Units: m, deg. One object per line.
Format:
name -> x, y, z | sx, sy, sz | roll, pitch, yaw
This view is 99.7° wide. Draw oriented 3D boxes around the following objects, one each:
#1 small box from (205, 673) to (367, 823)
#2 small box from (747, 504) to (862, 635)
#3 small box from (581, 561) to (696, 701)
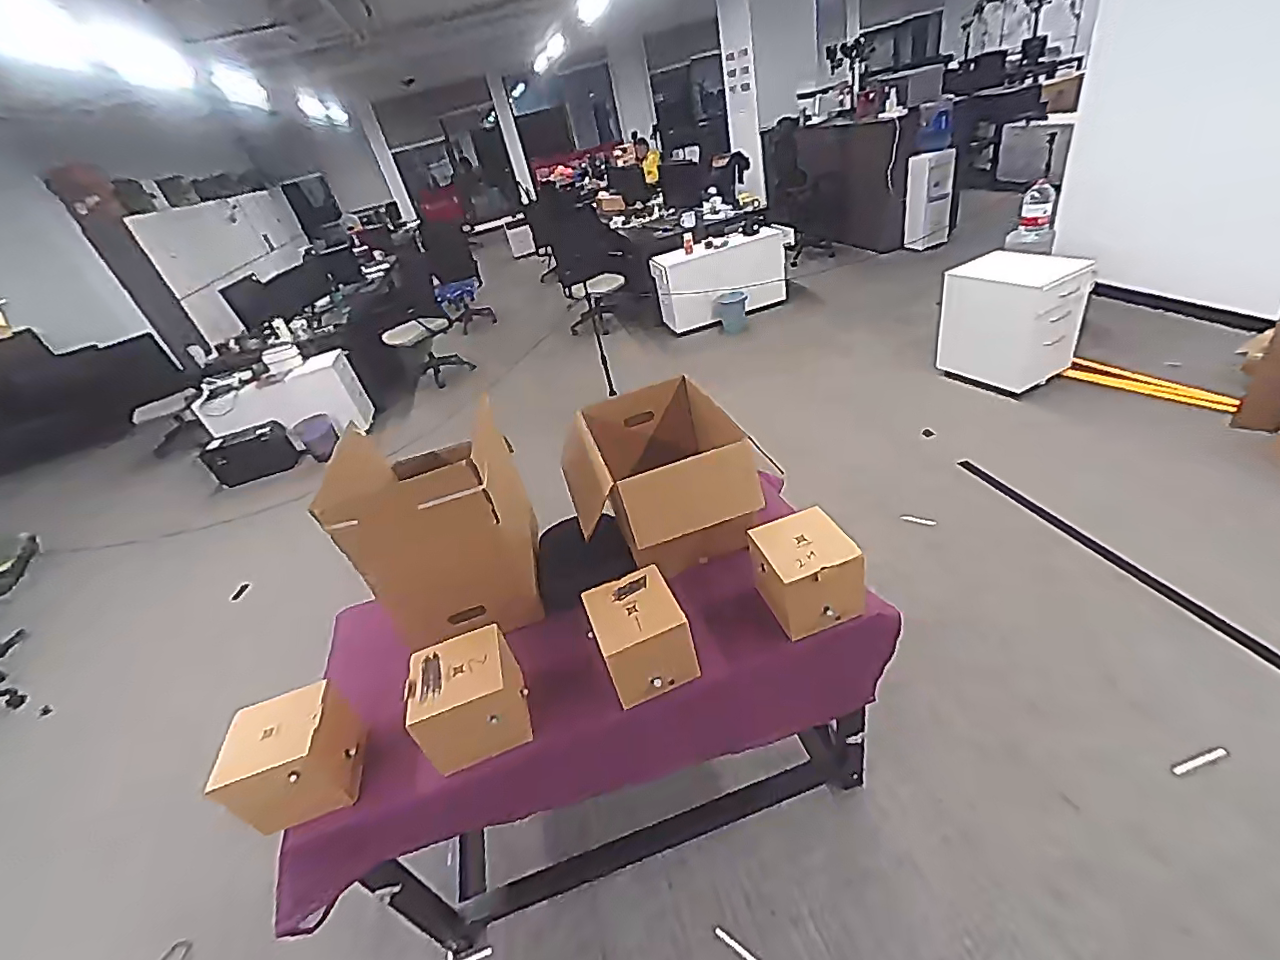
small box -> -0.652, 0.508, 1.023 | 0.179, 0.176, 0.168 | -18, 34, -7
small box -> 0.336, 0.184, 1.116 | 0.168, 0.176, 0.179 | -19, 34, -4
small box -> -0.003, 0.300, 1.079 | 0.168, 0.176, 0.179 | -21, 35, -9
